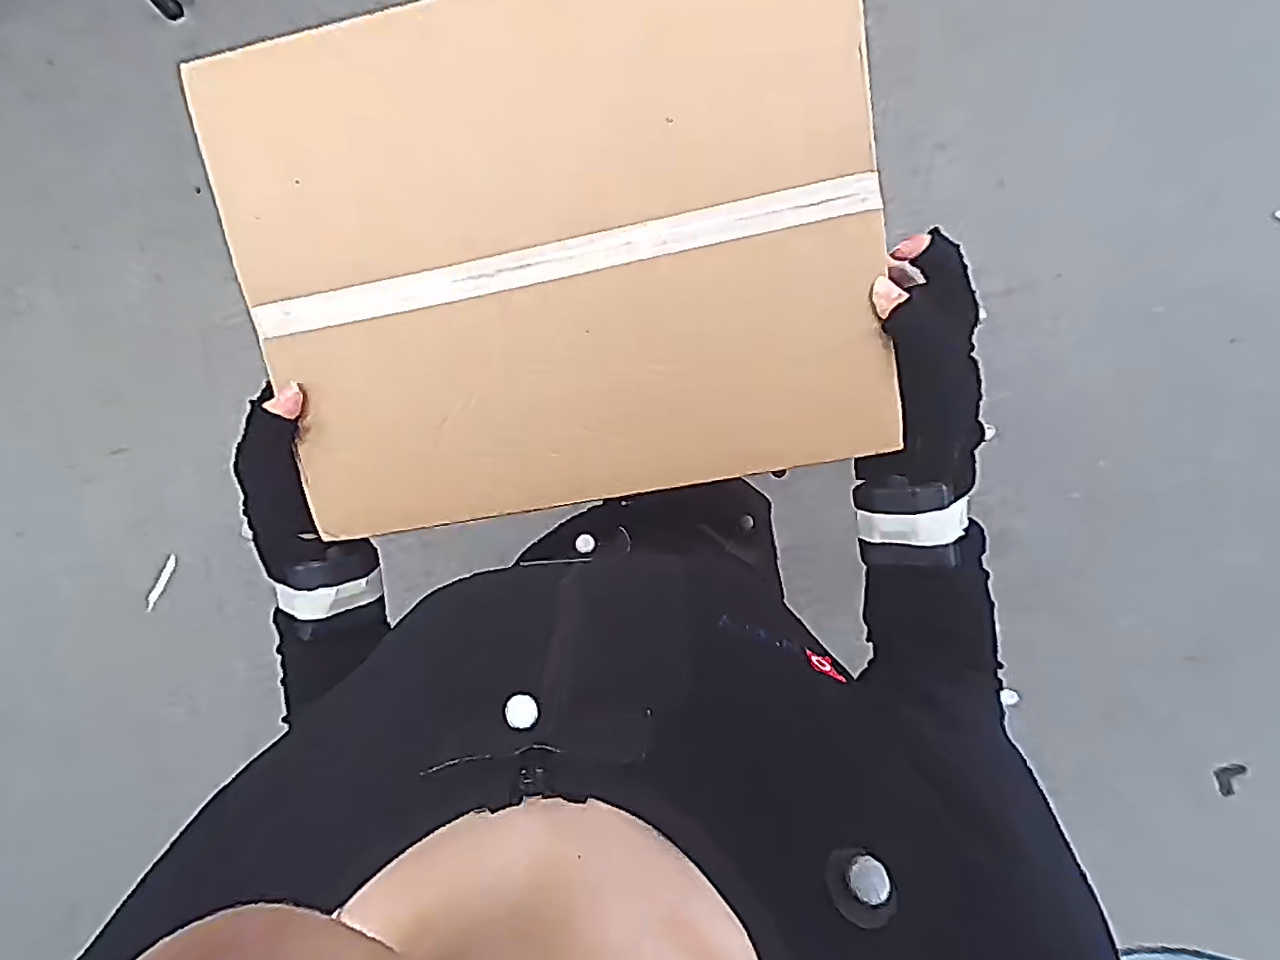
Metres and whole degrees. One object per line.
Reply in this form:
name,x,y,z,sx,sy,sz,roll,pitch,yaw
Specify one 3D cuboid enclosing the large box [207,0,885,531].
large box,-0.045,-0.174,0.497,0.408,0.320,0.320,-9,100,6
